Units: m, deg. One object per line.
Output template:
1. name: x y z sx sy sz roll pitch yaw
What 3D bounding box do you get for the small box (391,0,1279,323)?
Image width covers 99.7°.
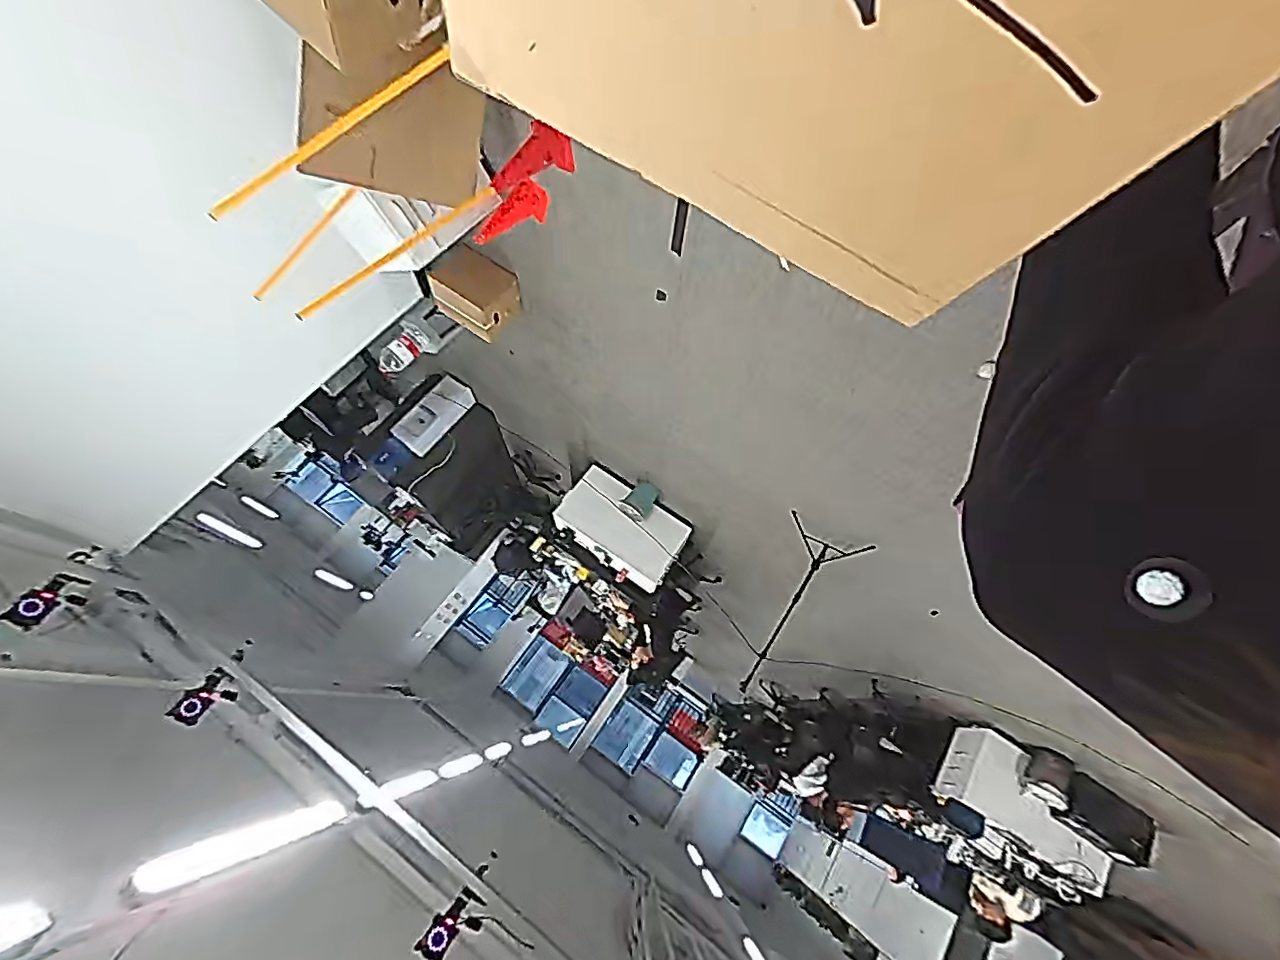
1. small box: 0.054 -0.177 0.120 0.179 0.176 0.168 27 165 -5
